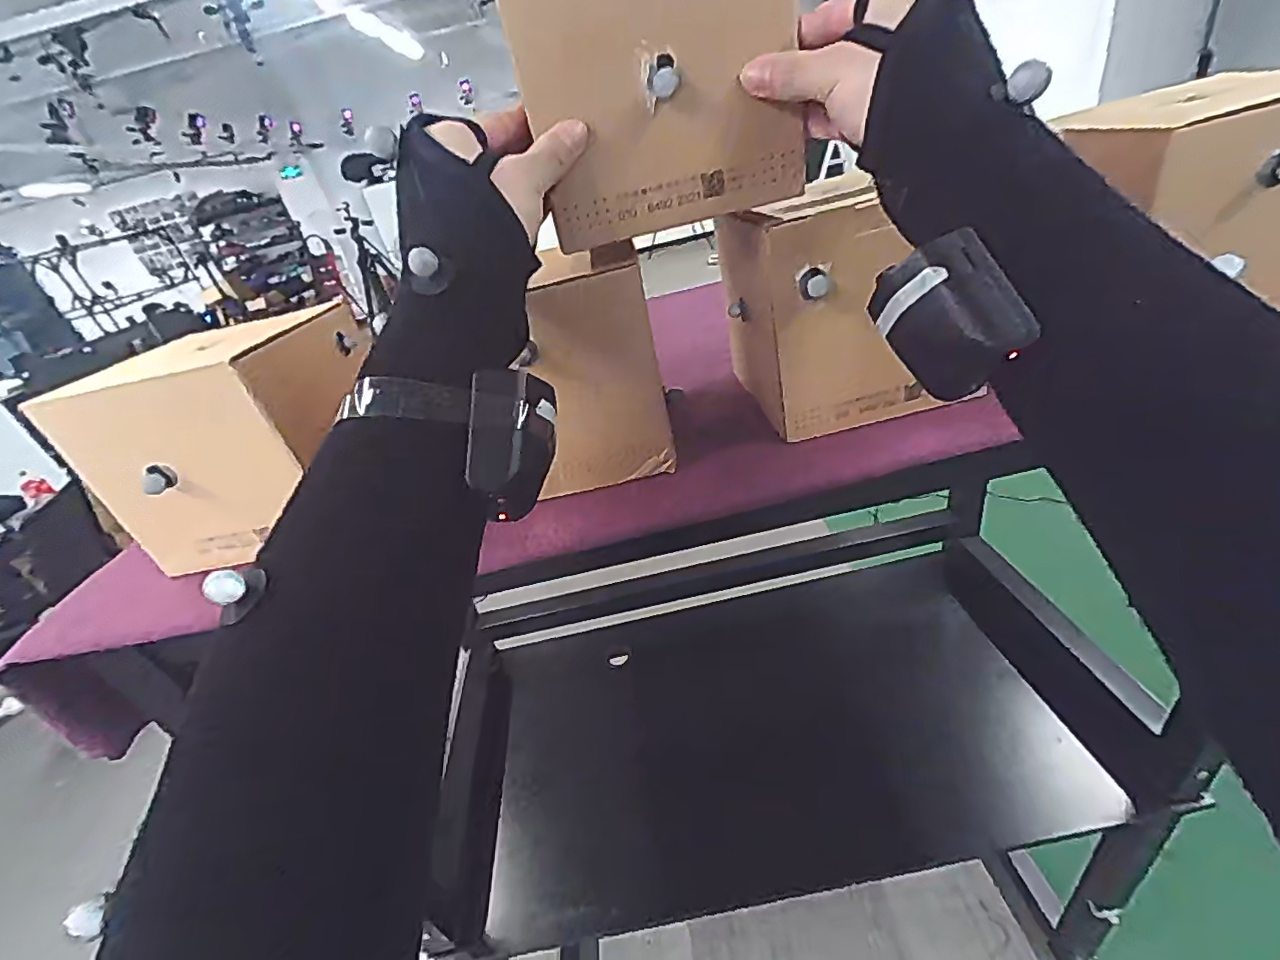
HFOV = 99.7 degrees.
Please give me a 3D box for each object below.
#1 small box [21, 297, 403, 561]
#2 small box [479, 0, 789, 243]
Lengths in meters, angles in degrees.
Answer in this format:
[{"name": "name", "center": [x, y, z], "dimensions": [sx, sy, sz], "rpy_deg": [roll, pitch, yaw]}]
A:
[{"name": "small box", "center": [-0.344, -0.043, 0.485], "dimensions": [0.168, 0.176, 0.179], "rpy_deg": [-11, 31, 5]}, {"name": "small box", "center": [-0.004, -0.277, 0.377], "dimensions": [0.168, 0.176, 0.179], "rpy_deg": [-14, 32, 1]}]
